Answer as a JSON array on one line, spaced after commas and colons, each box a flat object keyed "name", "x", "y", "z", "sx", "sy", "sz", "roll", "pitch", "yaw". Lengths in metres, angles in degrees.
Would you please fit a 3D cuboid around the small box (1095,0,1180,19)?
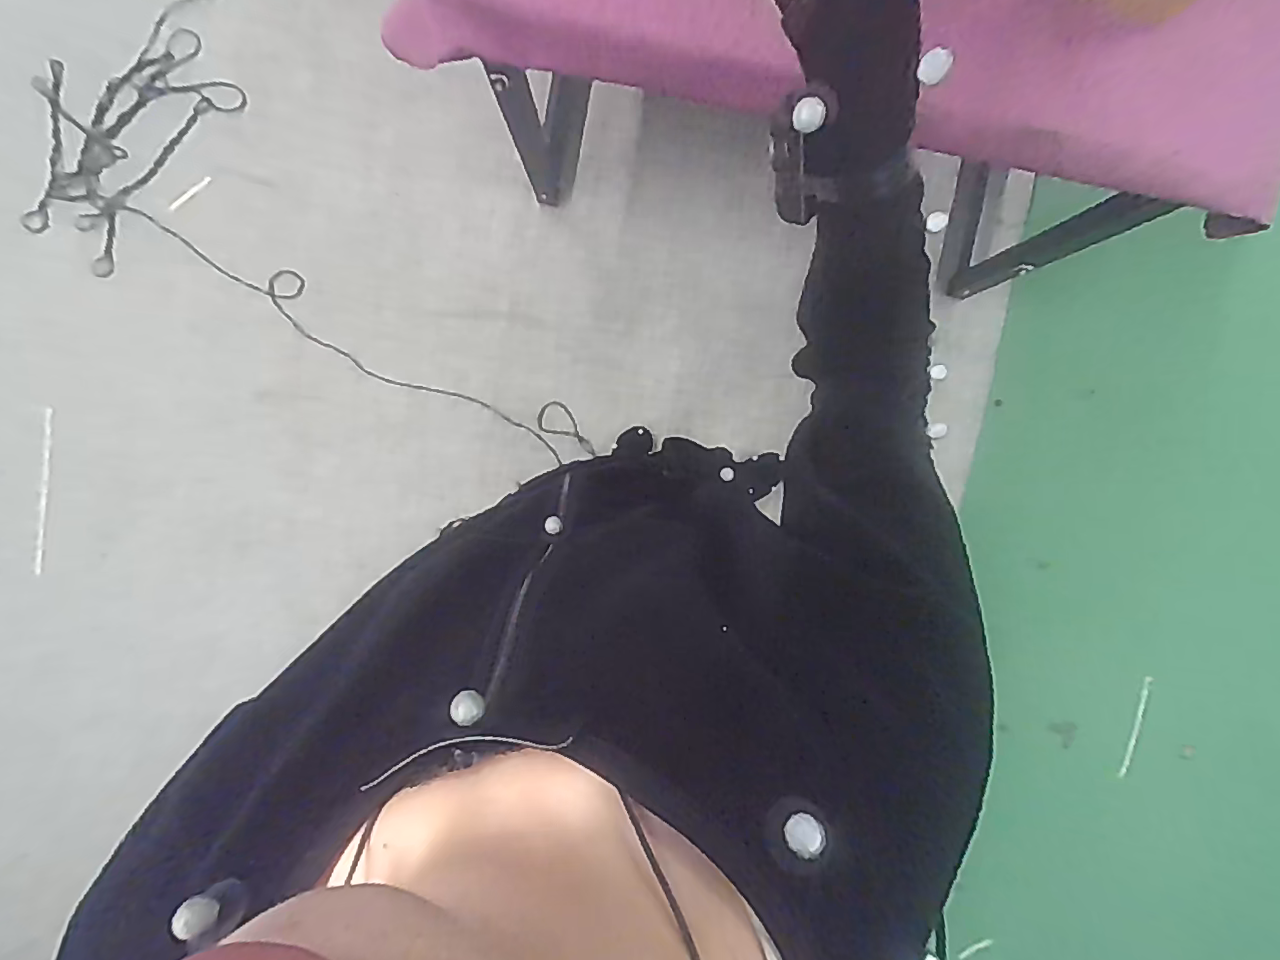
[{"name": "small box", "x": 0.653, "y": -0.717, "z": 0.651, "sx": 0.179, "sy": 0.176, "sz": 0.168, "roll": 20, "pitch": 94, "yaw": -3}]
